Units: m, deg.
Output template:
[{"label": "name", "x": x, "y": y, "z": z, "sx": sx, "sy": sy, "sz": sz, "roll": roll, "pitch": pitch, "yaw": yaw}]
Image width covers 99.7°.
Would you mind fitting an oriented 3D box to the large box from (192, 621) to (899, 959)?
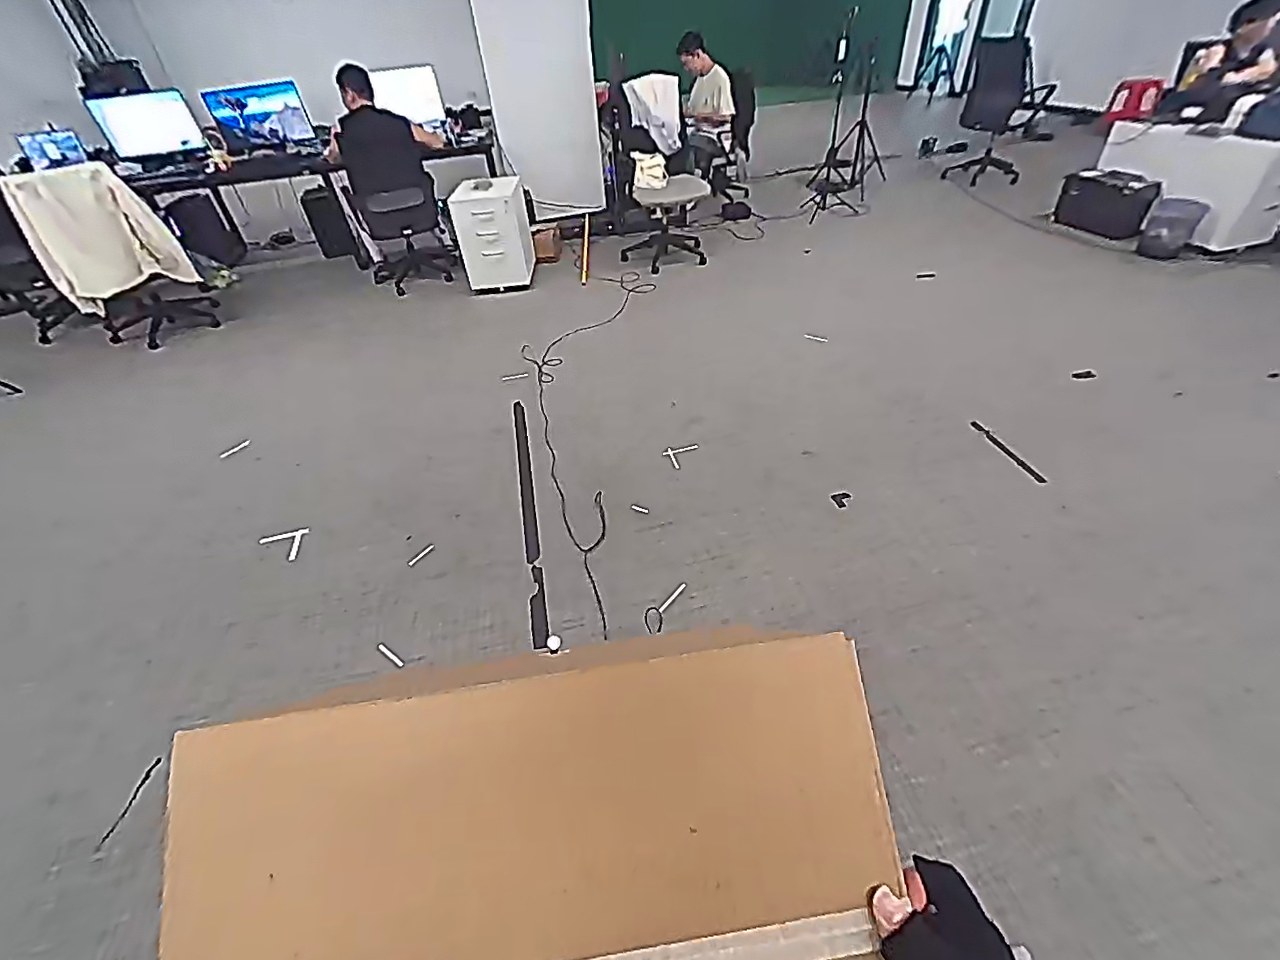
[{"label": "large box", "x": -0.052, "y": 0.311, "z": 0.454, "sx": 0.408, "sy": 0.320, "sz": 0.320, "roll": -8, "pitch": 77, "yaw": -3}]
